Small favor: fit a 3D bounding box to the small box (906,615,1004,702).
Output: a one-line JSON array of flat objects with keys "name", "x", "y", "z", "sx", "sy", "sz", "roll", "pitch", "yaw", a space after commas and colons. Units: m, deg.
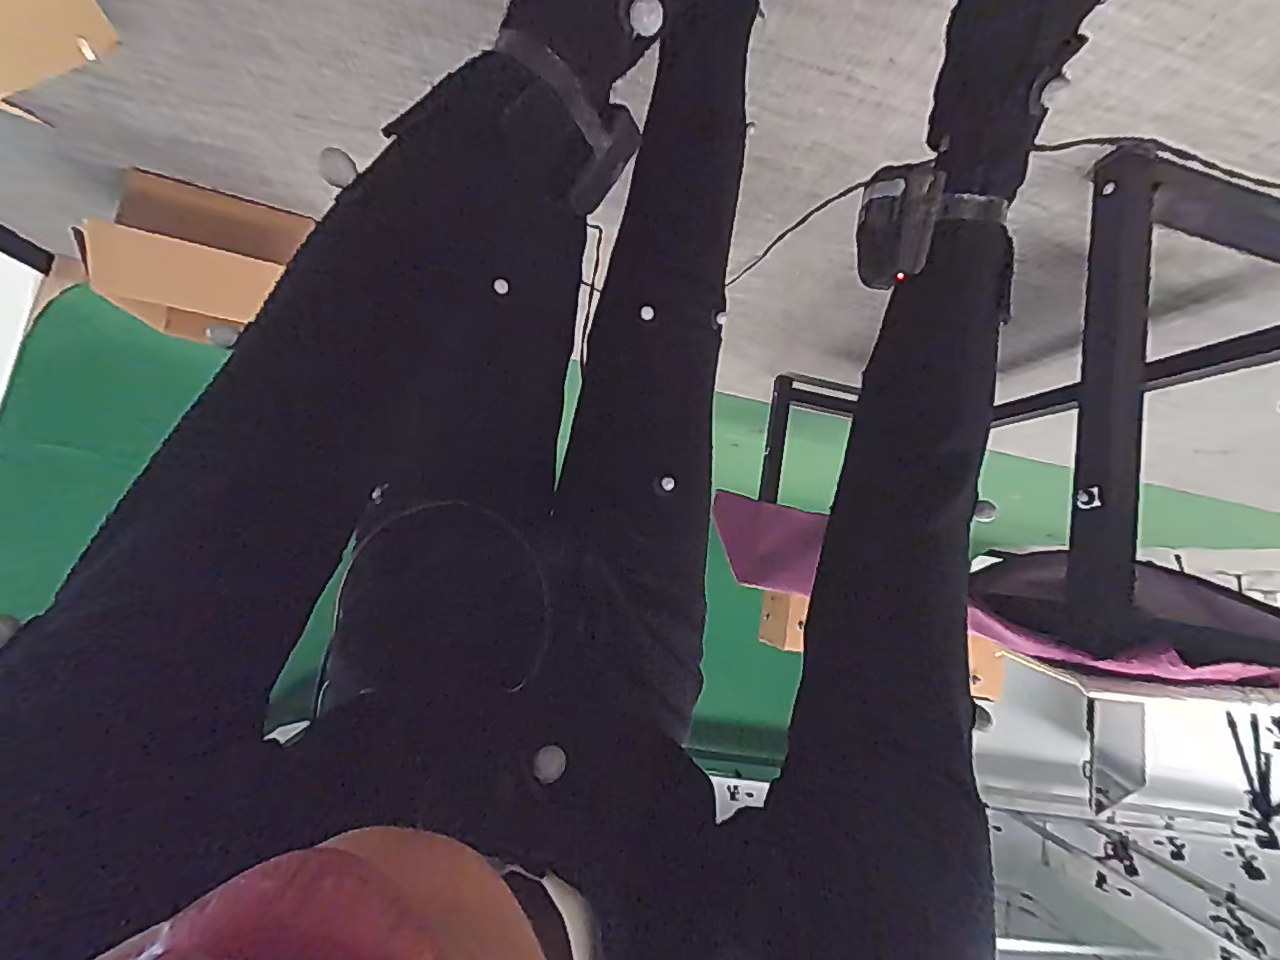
[{"name": "small box", "x": 0.774, "y": 0.440, "z": 1.359, "sx": 0.179, "sy": 0.176, "sz": 0.168, "roll": 11, "pitch": 172, "yaw": -9}]
